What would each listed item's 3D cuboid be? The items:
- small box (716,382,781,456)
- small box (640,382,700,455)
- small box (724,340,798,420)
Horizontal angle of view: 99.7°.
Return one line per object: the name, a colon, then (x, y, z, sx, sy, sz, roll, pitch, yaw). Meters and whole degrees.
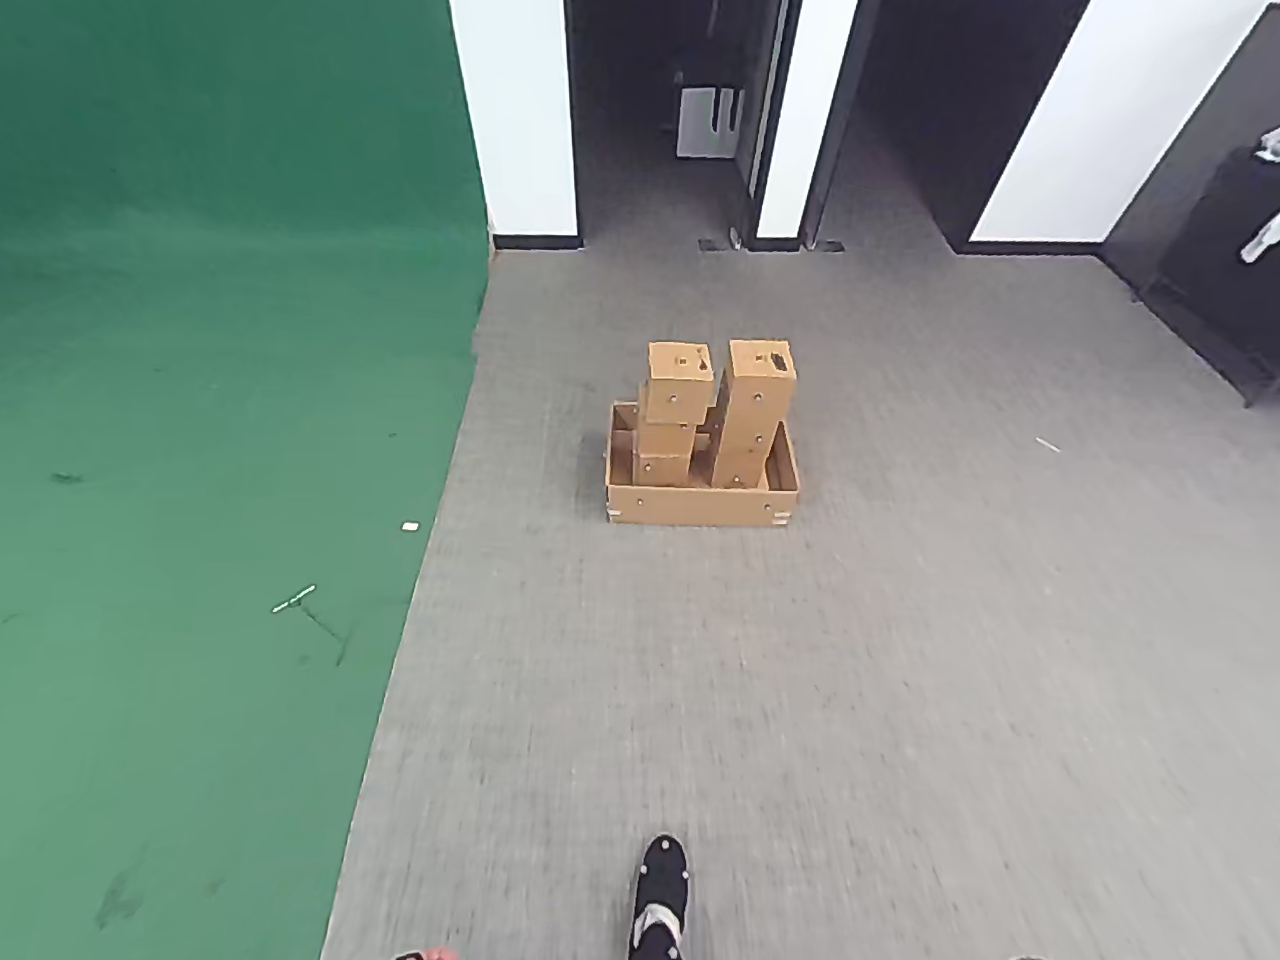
small box: (0.340, -0.192, 1.725, 0.168, 0.176, 0.179, 3, 50, -1)
small box: (0.088, -0.194, 1.721, 0.179, 0.176, 0.168, 1, 51, -4)
small box: (0.350, -0.291, 1.597, 0.179, 0.176, 0.168, 2, 51, 0)
